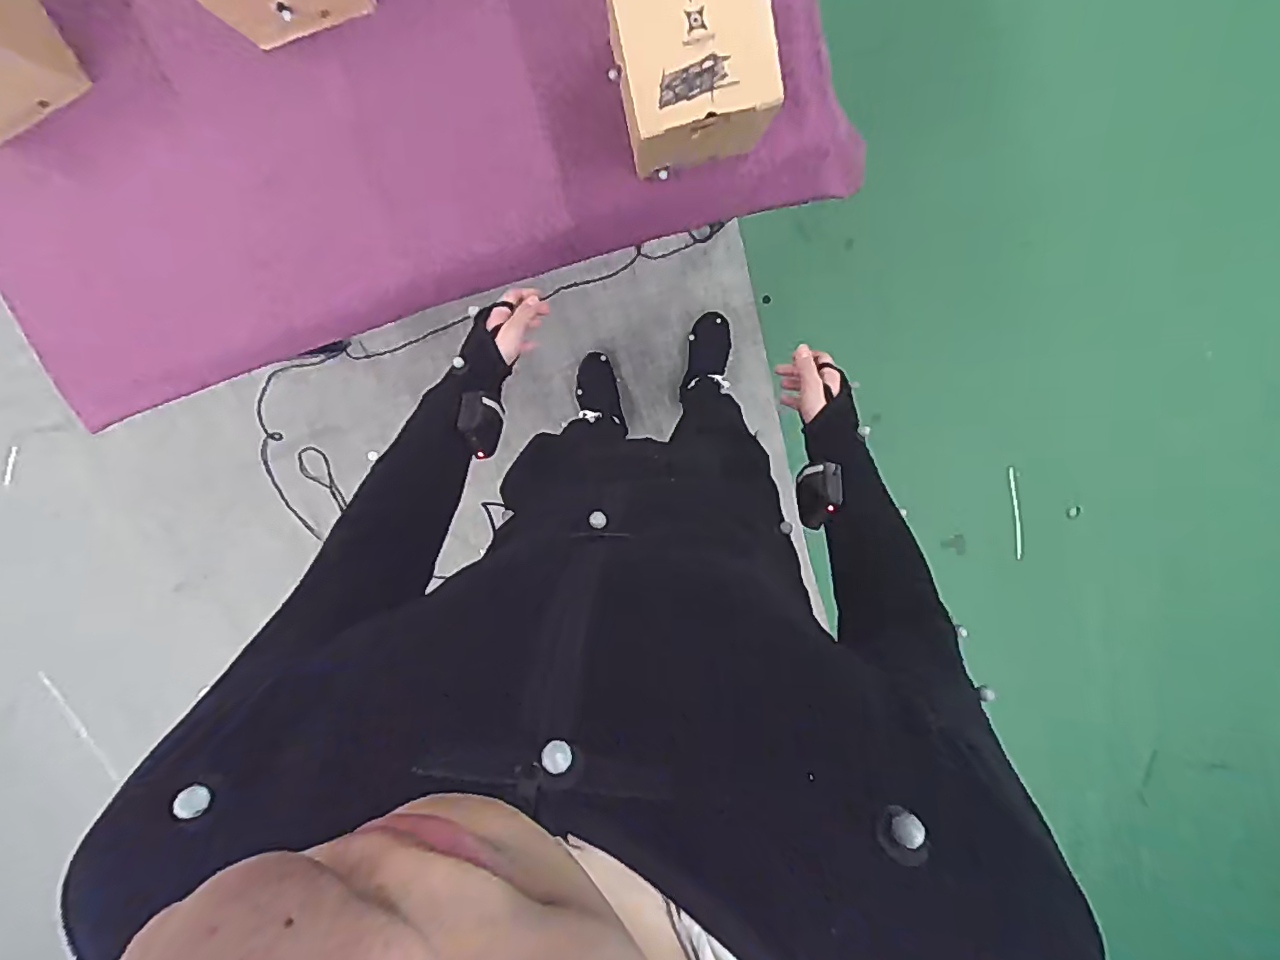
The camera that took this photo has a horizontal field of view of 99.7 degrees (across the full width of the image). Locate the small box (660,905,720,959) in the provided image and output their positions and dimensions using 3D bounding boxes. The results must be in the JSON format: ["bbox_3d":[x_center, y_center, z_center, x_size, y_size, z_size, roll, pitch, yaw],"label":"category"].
[{"bbox_3d":[0.169,1.561,1.784,0.168,0.176,0.179,-17,106,2],"label":"small box"}]

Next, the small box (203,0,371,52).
[{"bbox_3d":[-0.442,-0.637,0.606,0.168,0.176,0.179,-17,107,2],"label":"small box"}]

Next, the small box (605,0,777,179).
[{"bbox_3d":[0.057,-0.491,0.661,0.168,0.176,0.179,-12,104,2],"label":"small box"}]
